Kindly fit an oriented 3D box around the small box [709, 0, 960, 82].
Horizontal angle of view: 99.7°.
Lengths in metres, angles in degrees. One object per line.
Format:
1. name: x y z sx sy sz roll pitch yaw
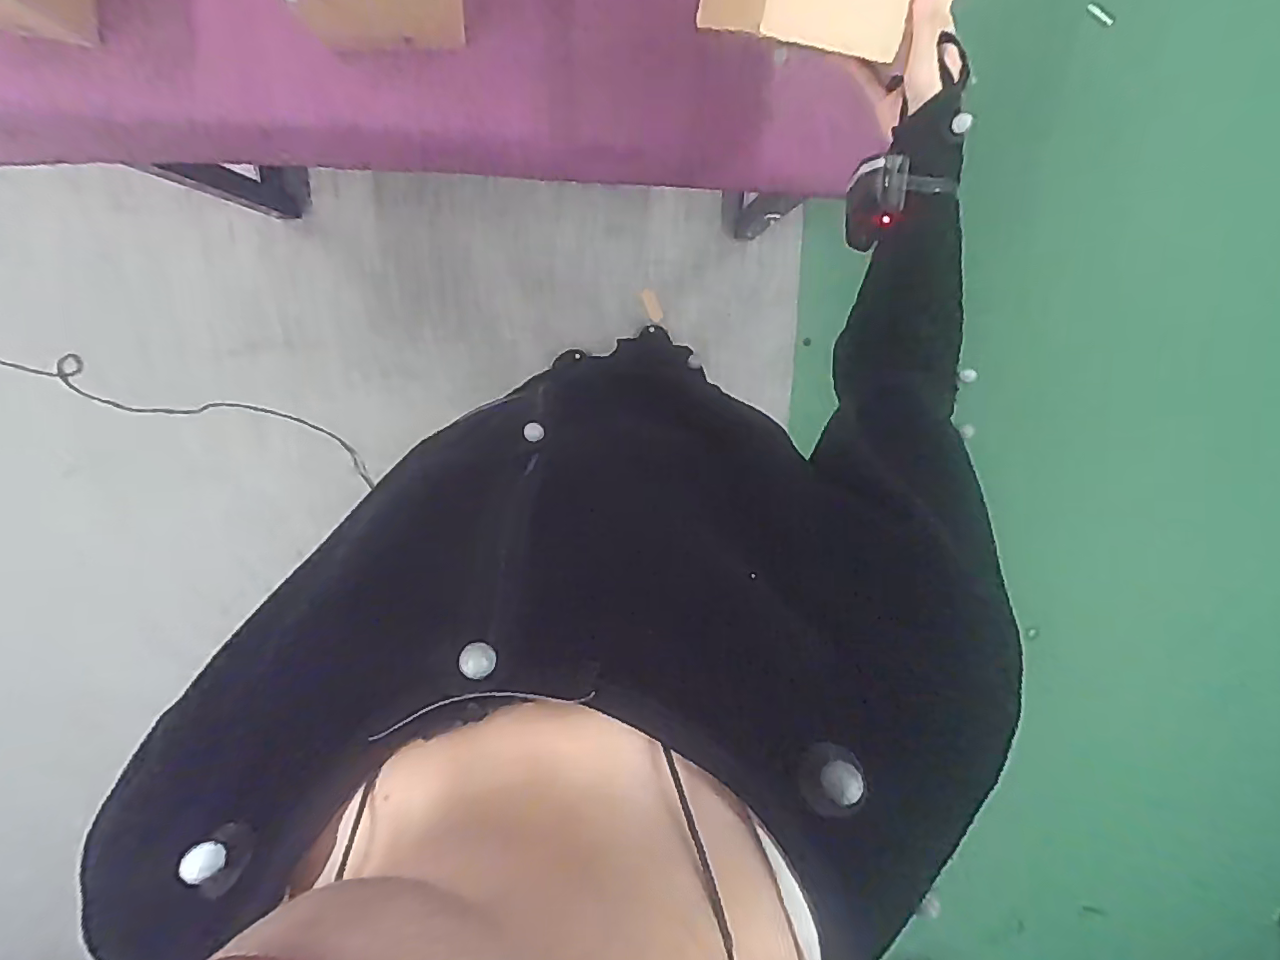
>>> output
1. small box: 0.170 -0.466 0.460 0.168 0.176 0.179 -1 129 -16
